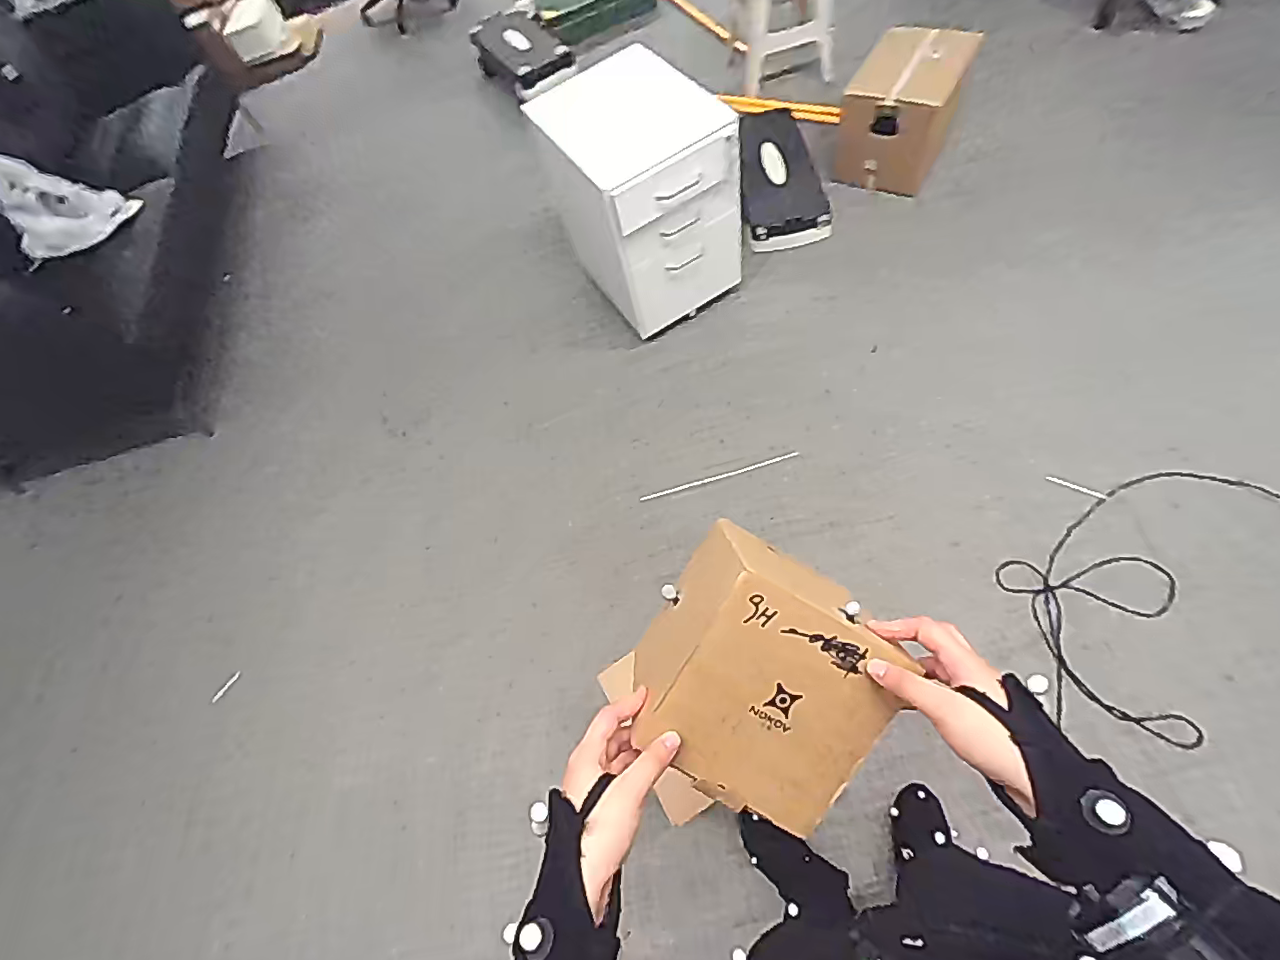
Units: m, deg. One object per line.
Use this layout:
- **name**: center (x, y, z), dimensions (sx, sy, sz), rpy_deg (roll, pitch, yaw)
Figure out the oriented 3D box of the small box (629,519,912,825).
- **small box**: center (0.108, 0.163, 0.513), dimensions (0.168, 0.176, 0.179), rpy_deg (31, 99, -3)
